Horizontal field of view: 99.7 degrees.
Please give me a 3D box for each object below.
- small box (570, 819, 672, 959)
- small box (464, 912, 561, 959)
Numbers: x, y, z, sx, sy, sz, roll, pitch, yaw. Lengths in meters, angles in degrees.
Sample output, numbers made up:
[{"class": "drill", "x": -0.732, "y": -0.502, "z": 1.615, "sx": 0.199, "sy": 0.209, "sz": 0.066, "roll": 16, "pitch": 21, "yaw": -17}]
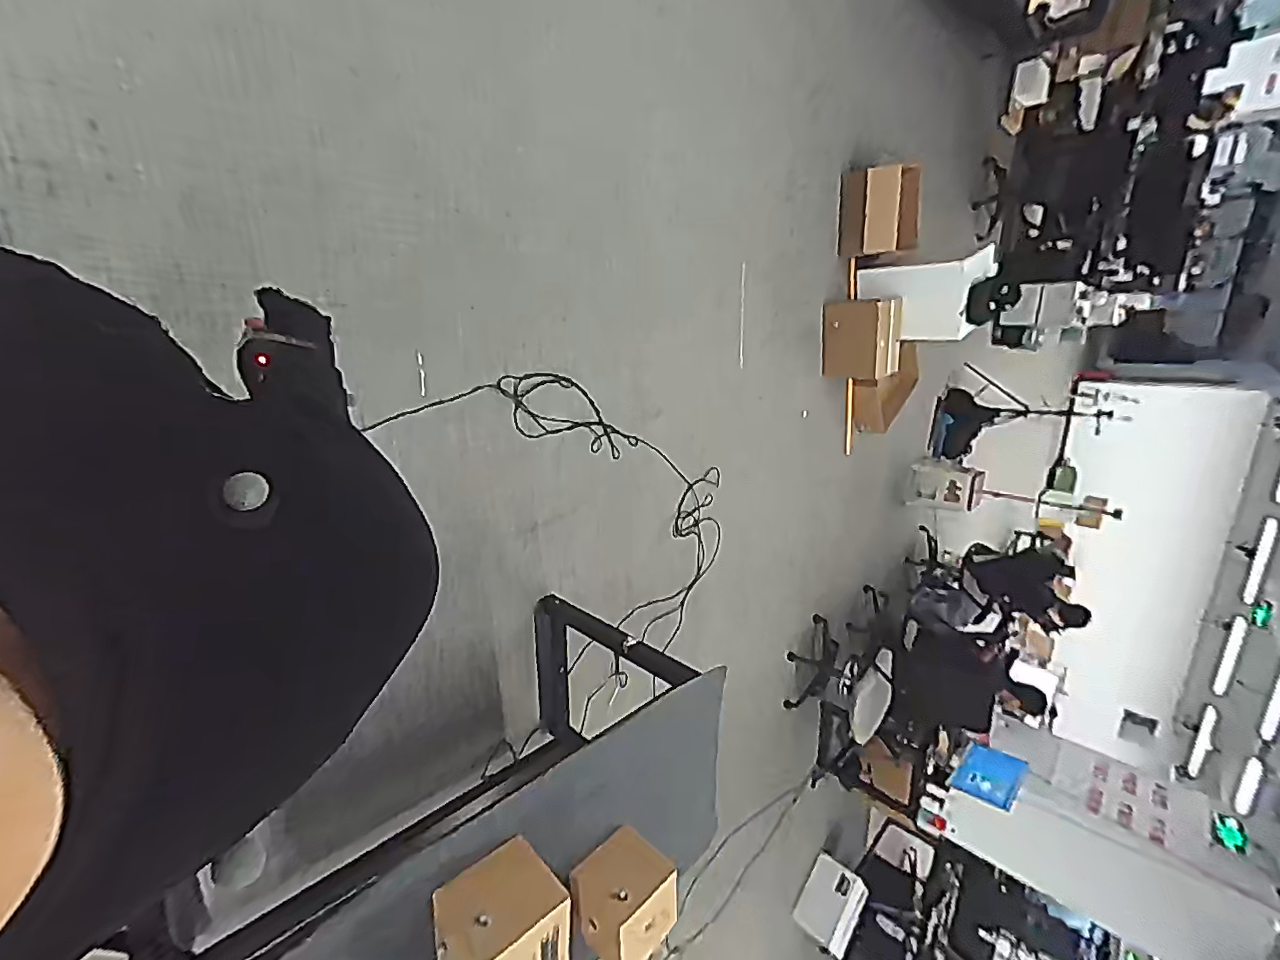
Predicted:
[{"class": "small box", "x": -0.047, "y": 0.924, "z": 1.220, "sx": 0.179, "sy": 0.176, "sz": 0.168, "roll": -17, "pitch": 114, "yaw": -42}, {"class": "small box", "x": -0.249, "y": 1.000, "z": 1.033, "sx": 0.179, "sy": 0.176, "sz": 0.168, "roll": -19, "pitch": 114, "yaw": -43}]
